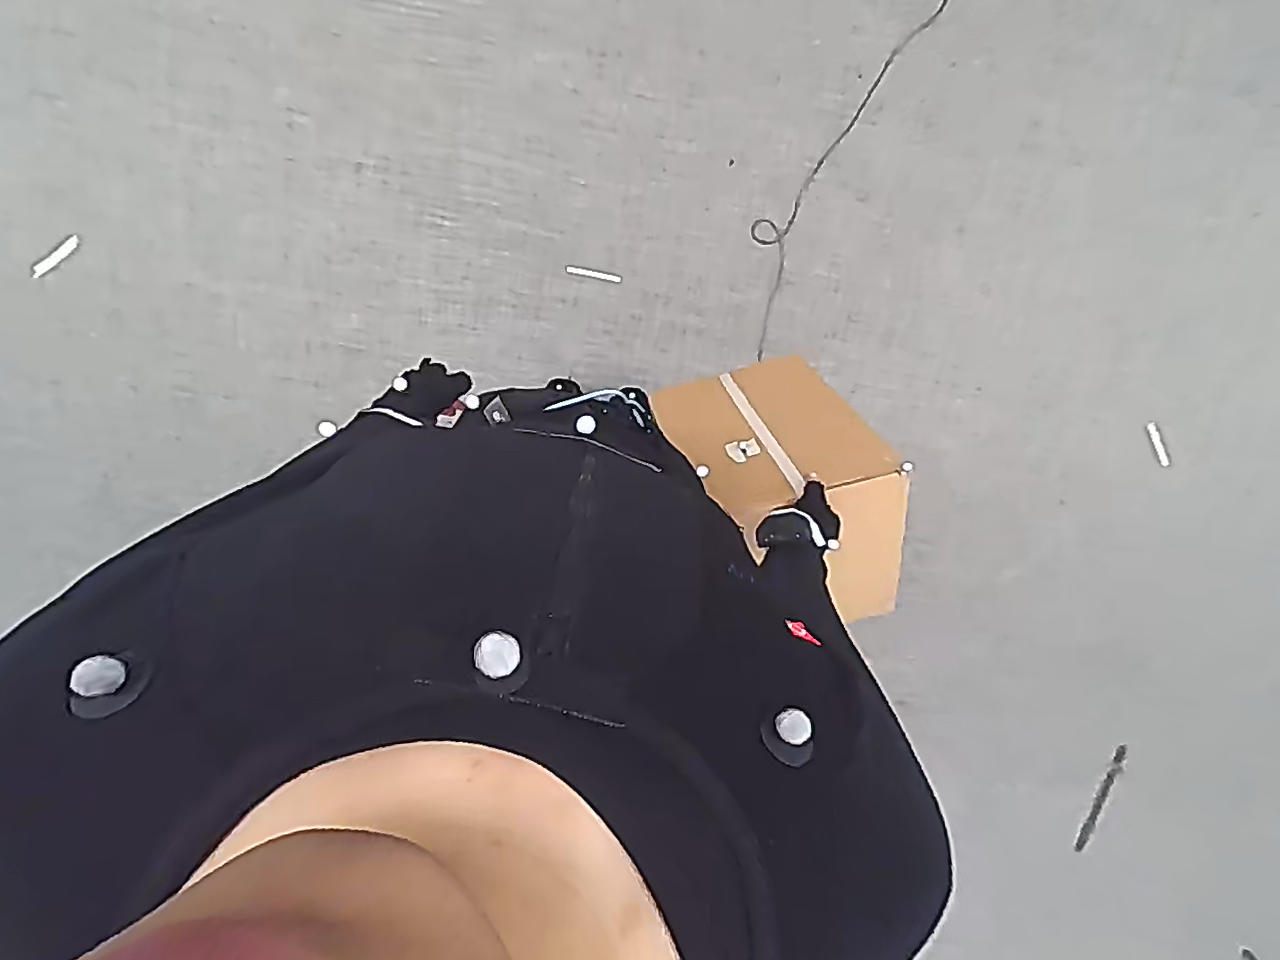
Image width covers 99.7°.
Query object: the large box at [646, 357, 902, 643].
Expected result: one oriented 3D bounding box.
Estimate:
[{"bbox_3d":[0.223,0.022,1.015,0.320,0.408,0.320,-16,128,0],"label":"large box"}]
